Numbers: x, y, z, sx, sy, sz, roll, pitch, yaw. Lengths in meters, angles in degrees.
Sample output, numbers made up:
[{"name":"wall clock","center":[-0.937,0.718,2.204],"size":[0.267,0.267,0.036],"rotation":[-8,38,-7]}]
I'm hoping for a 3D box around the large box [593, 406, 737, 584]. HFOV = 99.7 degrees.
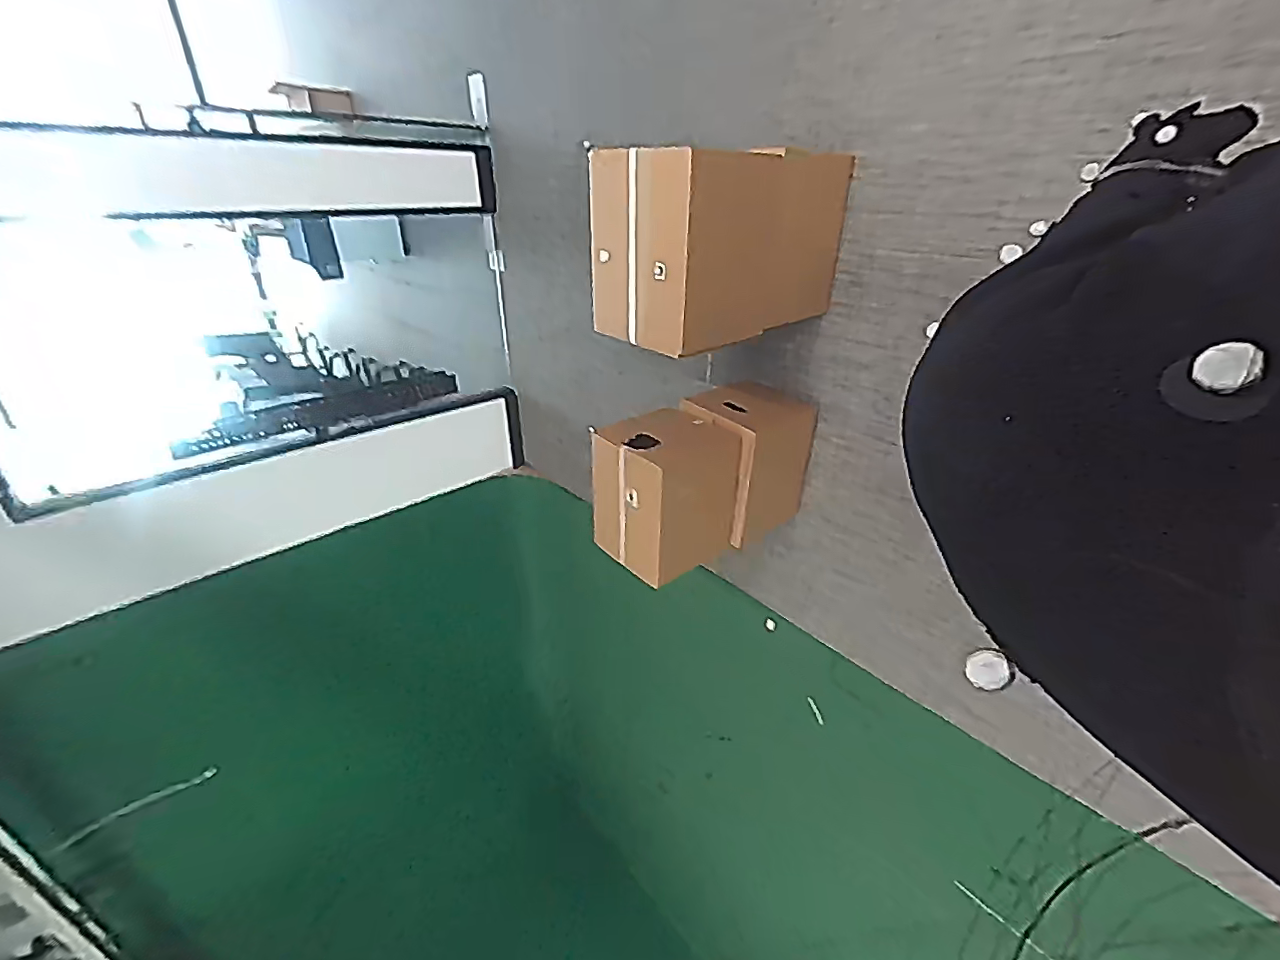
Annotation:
[{"name":"large box","center":[0.068,0.032,1.649],"size":[0.320,0.320,0.408],"rotation":[32,130,42]}]
